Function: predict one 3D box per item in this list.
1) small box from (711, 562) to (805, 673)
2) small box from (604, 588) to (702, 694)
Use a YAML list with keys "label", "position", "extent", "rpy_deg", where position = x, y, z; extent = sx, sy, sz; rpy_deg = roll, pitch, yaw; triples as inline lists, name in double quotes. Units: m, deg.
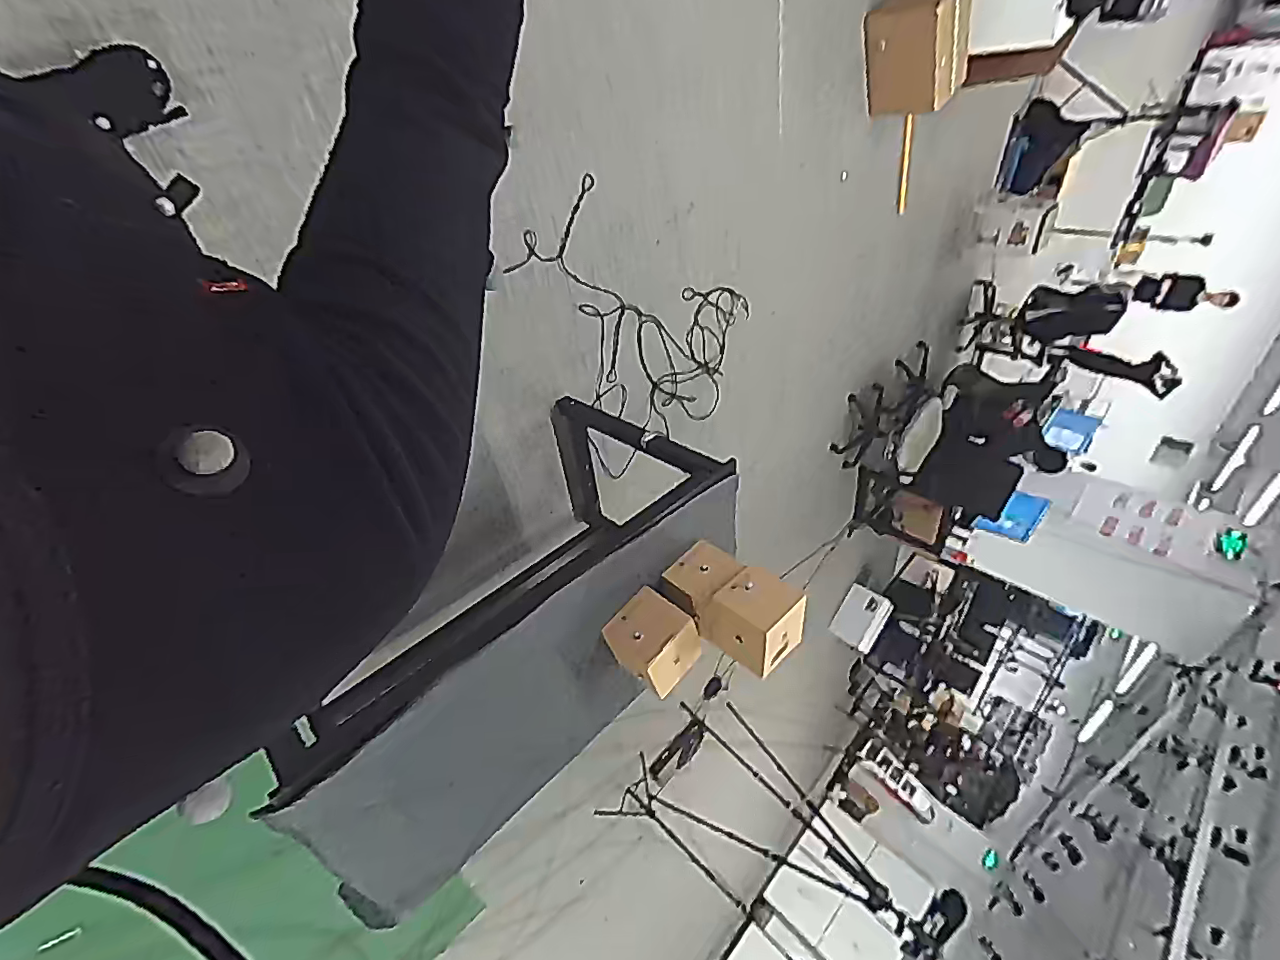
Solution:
- label: "small box"
  position: [0.292, 0.340, 1.364]
  extent: [0.168, 0.176, 0.179]
  rpy_deg: [-32, 132, -32]
- label: "small box"
  position: [0.033, 0.400, 1.377]
  extent: [0.168, 0.176, 0.179]
  rpy_deg: [-42, 138, -23]
